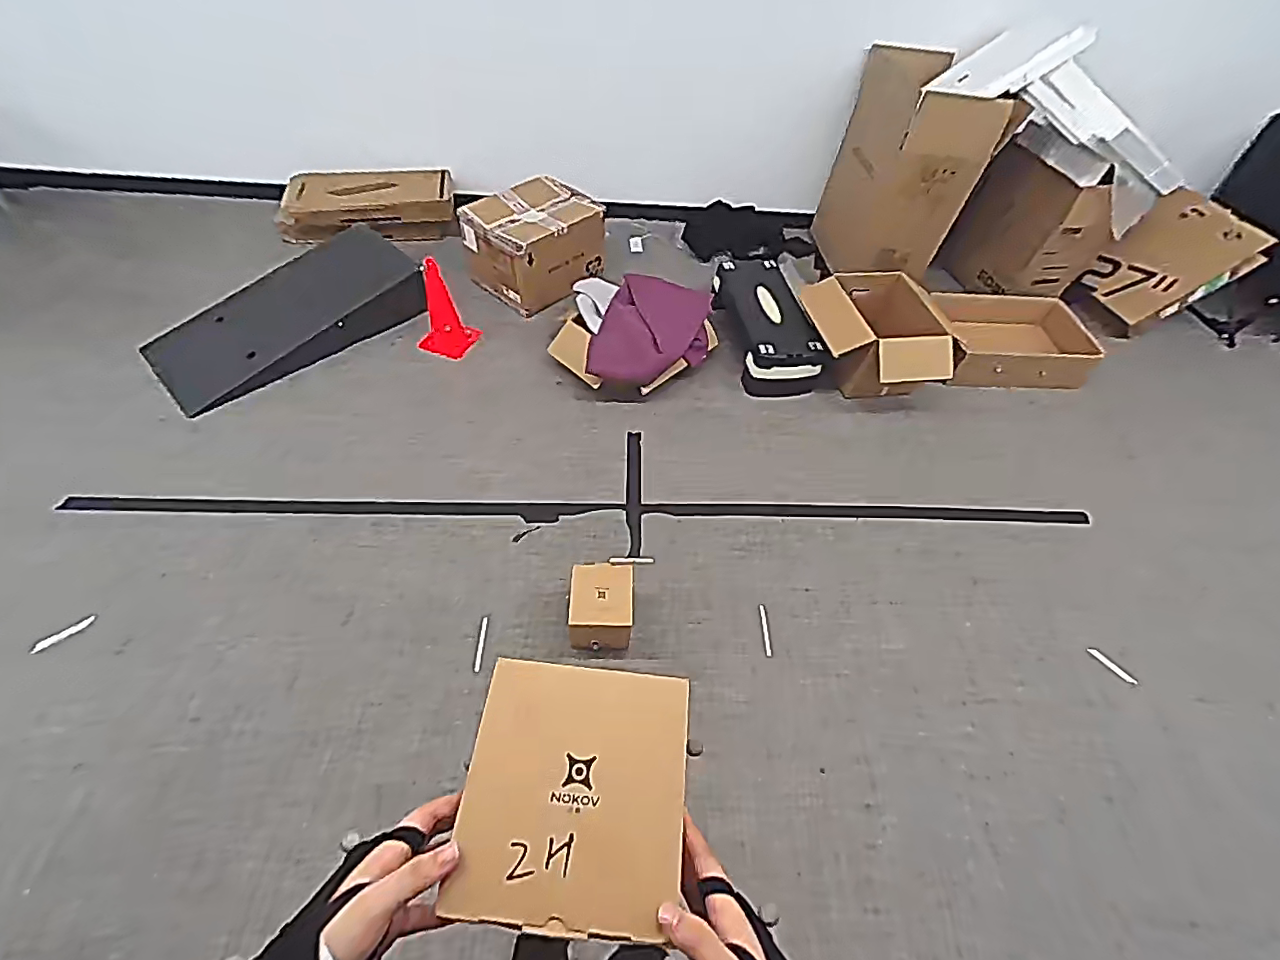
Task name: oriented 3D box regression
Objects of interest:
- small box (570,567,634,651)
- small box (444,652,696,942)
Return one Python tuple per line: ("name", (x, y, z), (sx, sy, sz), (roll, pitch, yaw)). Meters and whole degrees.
("small box", (-0.103, 0.355, 1.481), (0.168, 0.176, 0.179), (1, 54, -3))
("small box", (-0.047, 0.271, 0.471), (0.168, 0.176, 0.179), (6, 54, 2))
